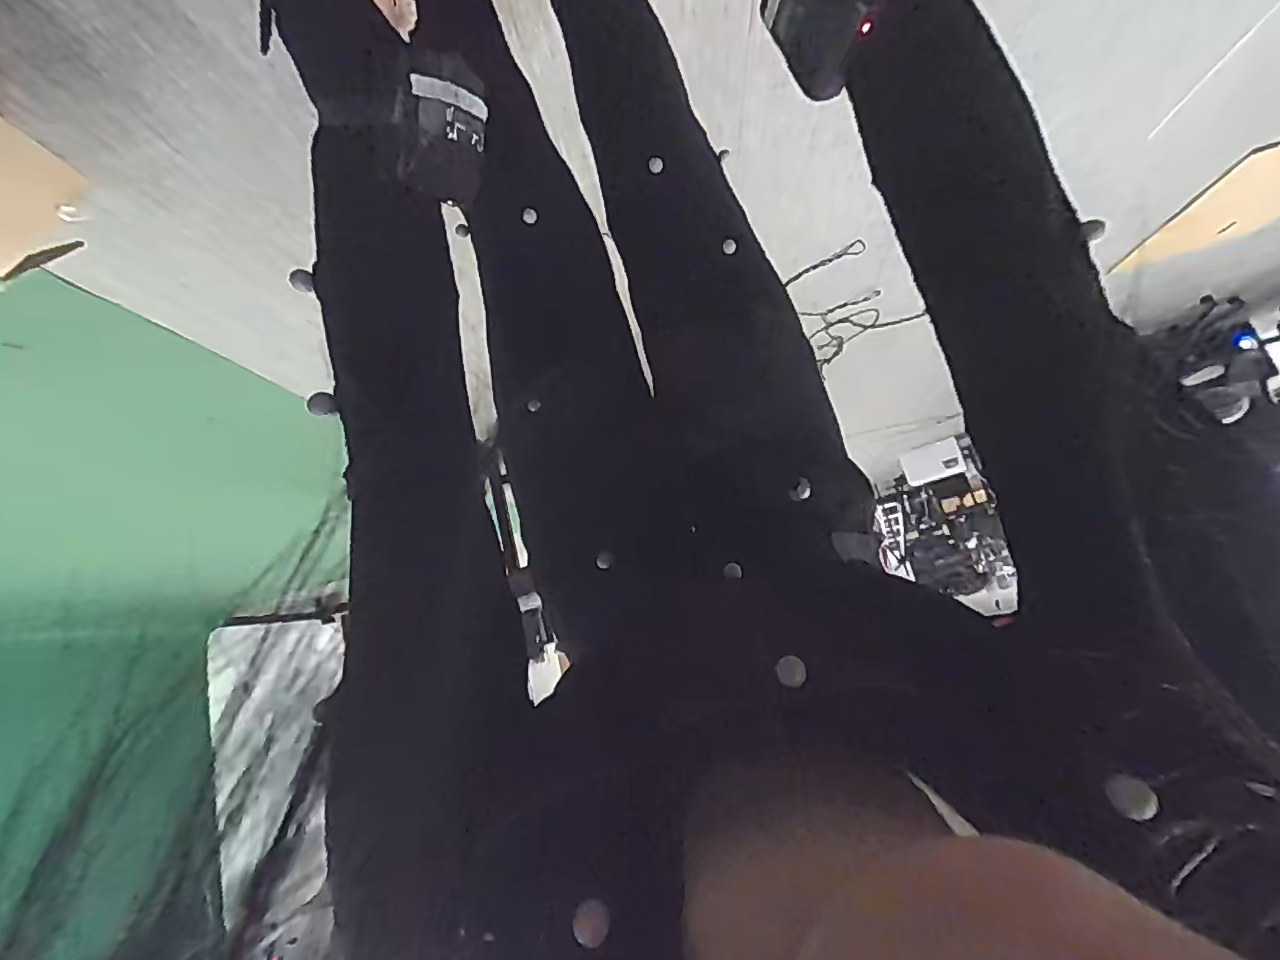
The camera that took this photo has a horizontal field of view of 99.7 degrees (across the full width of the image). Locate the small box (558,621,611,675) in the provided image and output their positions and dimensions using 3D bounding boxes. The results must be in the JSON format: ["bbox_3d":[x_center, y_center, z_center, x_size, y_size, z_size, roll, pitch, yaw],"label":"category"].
[{"bbox_3d":[-0.221,0.659,2.145,0.179,0.176,0.168,-12,167,-7],"label":"small box"}]
